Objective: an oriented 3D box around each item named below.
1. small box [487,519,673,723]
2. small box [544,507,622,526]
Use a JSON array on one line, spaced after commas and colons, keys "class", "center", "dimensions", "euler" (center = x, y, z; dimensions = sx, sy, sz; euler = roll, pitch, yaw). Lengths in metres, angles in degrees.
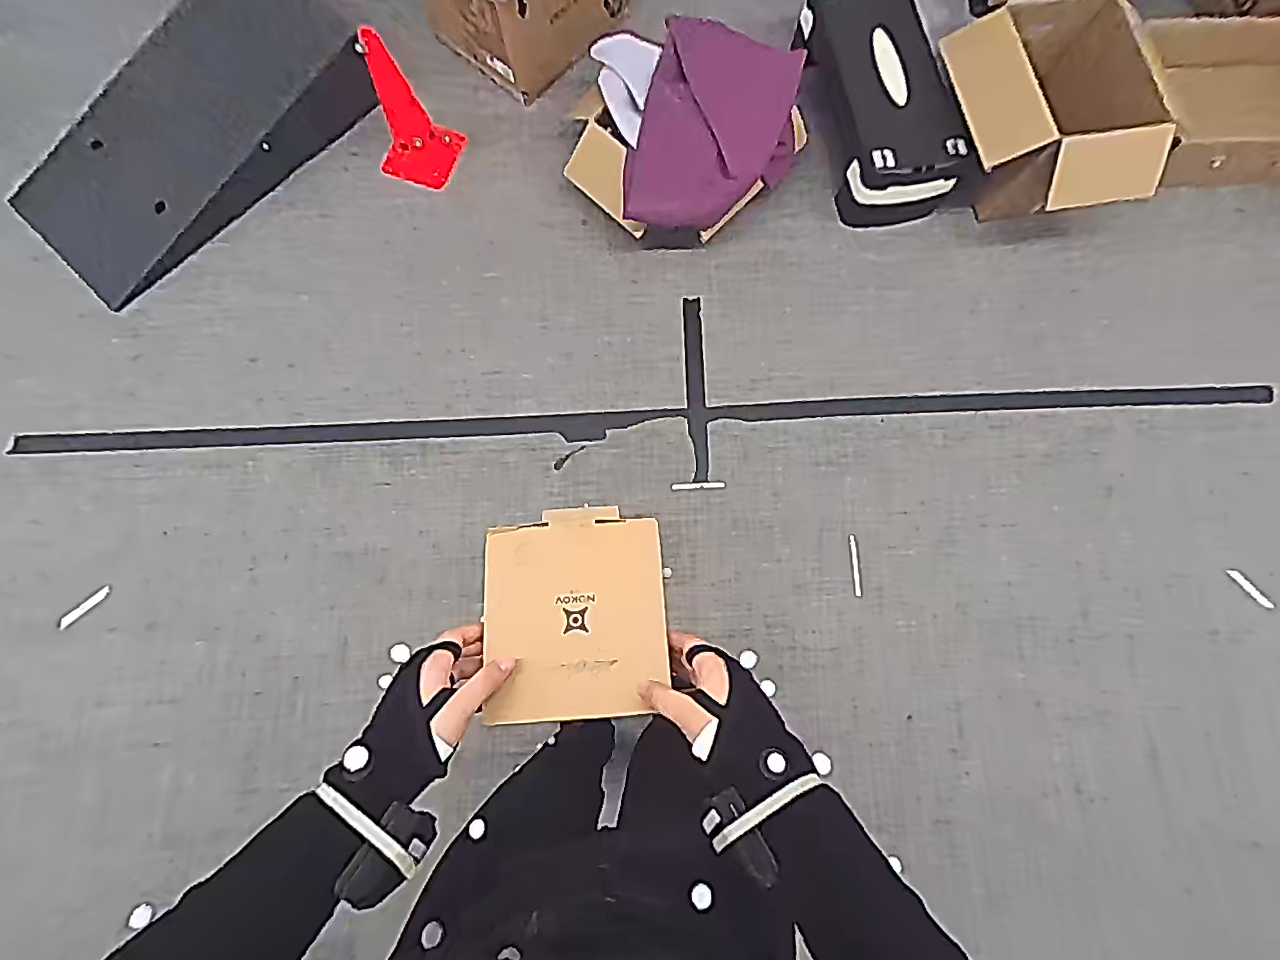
[{"class": "small box", "center": [-0.059, 0.149, 0.573], "dimensions": [0.168, 0.176, 0.179], "euler": [-4, 73, -2]}, {"class": "small box", "center": [-0.128, 0.158, 1.280], "dimensions": [0.179, 0.176, 0.168], "euler": [-3, 78, -1]}]
